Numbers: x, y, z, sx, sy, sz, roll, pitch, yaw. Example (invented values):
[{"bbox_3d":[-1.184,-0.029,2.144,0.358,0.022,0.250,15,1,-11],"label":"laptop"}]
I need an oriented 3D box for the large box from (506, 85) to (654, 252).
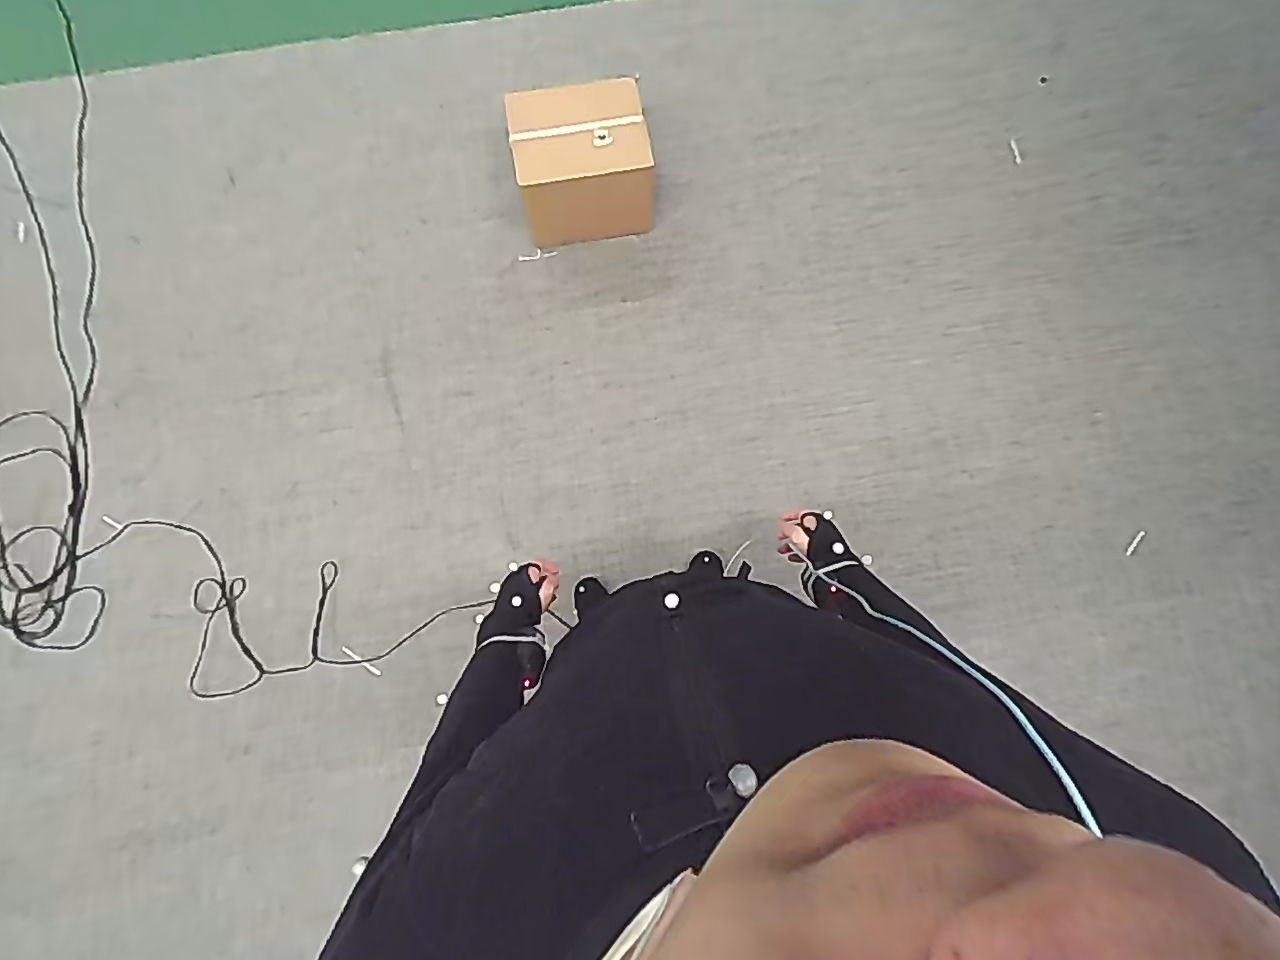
[{"bbox_3d":[-0.183,-0.988,1.744,0.408,0.320,0.320,-10,80,-3],"label":"large box"}]
